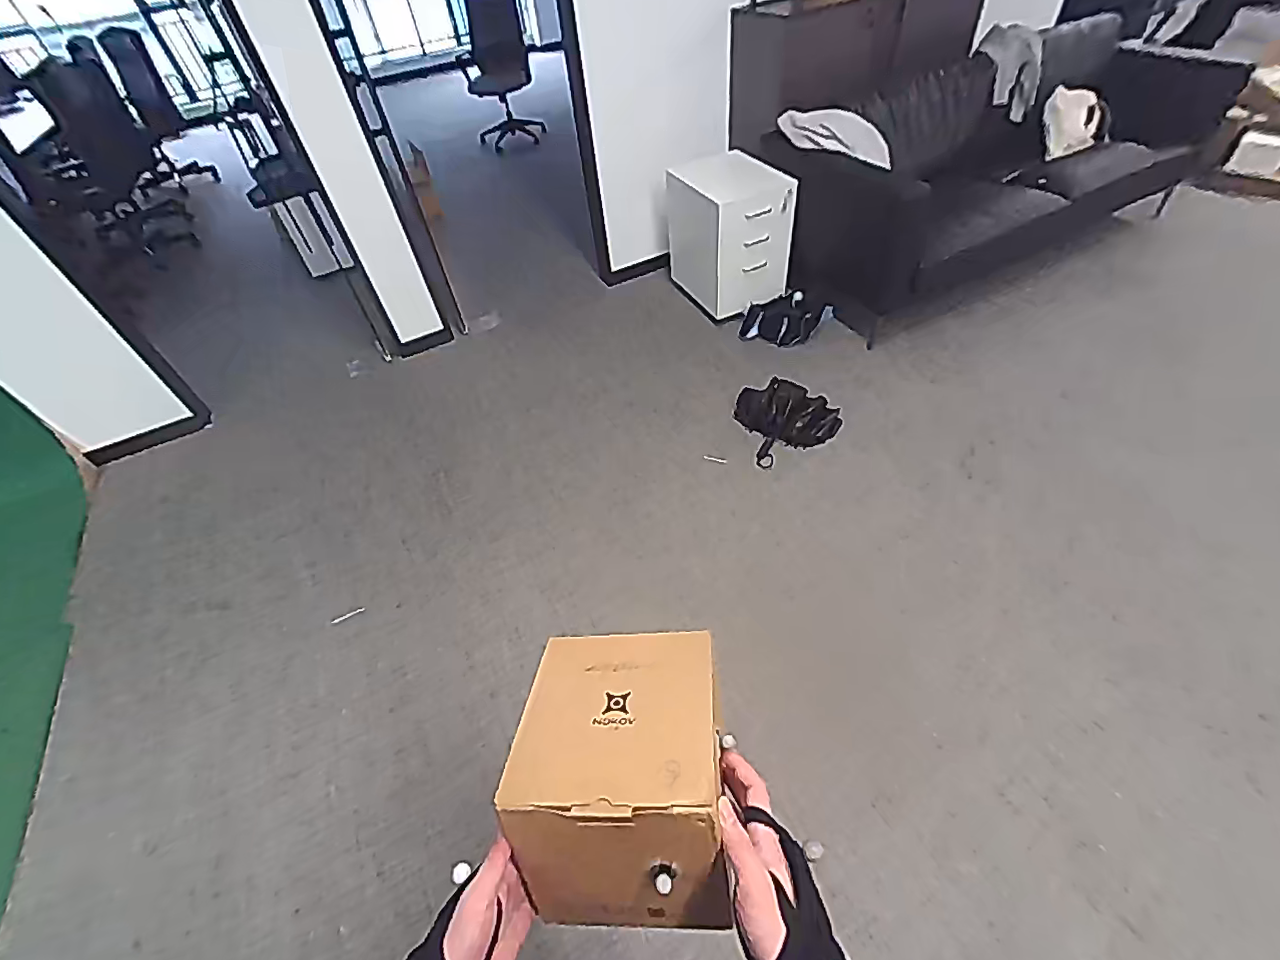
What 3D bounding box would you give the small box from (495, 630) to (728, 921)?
[{"bbox_3d":[-0.009,0.263,0.495,0.168,0.176,0.179,-4,26,8],"label":"small box"}]
